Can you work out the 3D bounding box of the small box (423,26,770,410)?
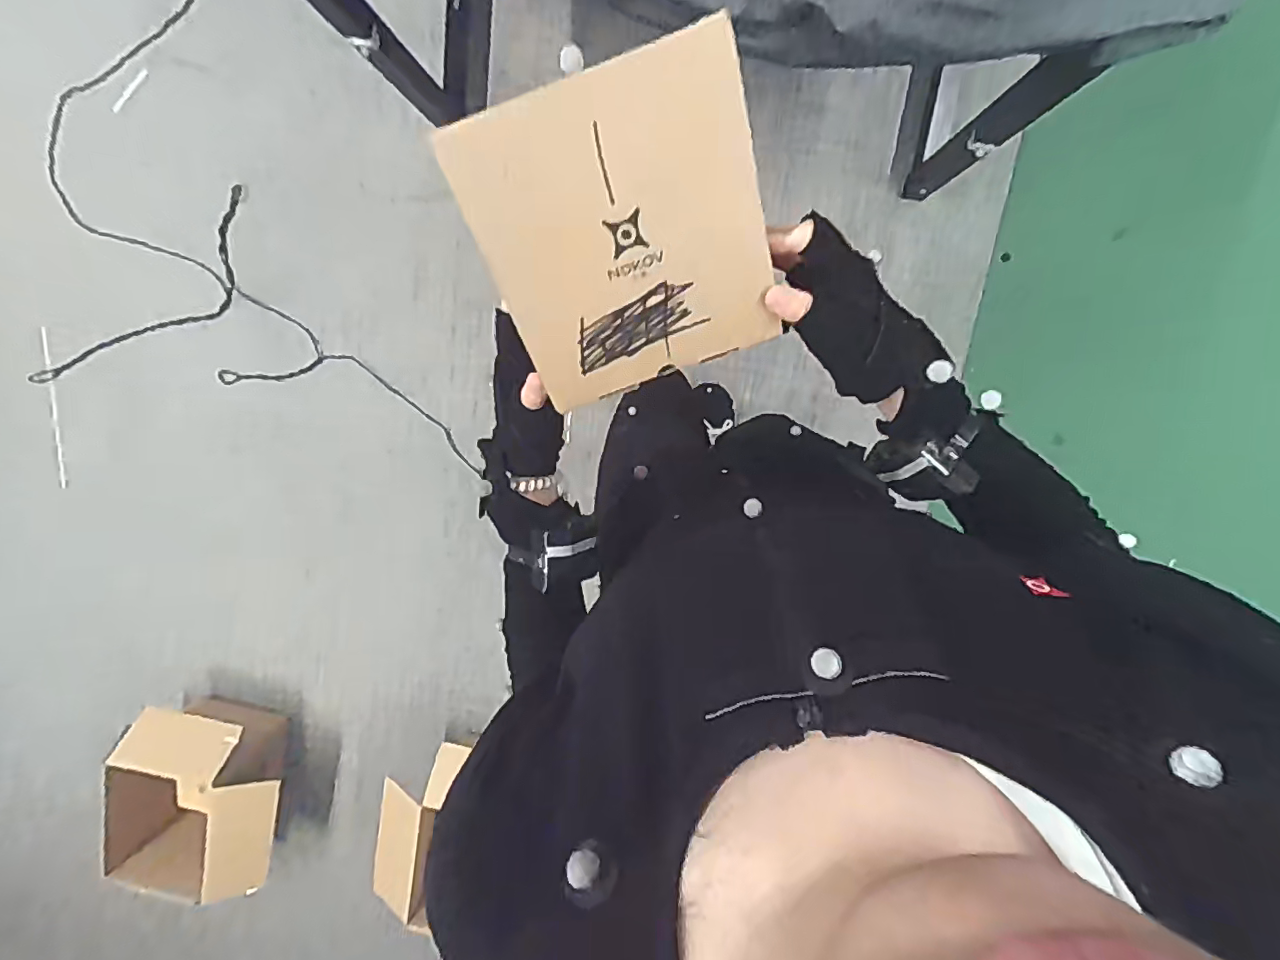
[{"bbox_3d":[-0.021,-0.184,0.390,0.168,0.176,0.179,-19,125,5],"label":"small box"}]
